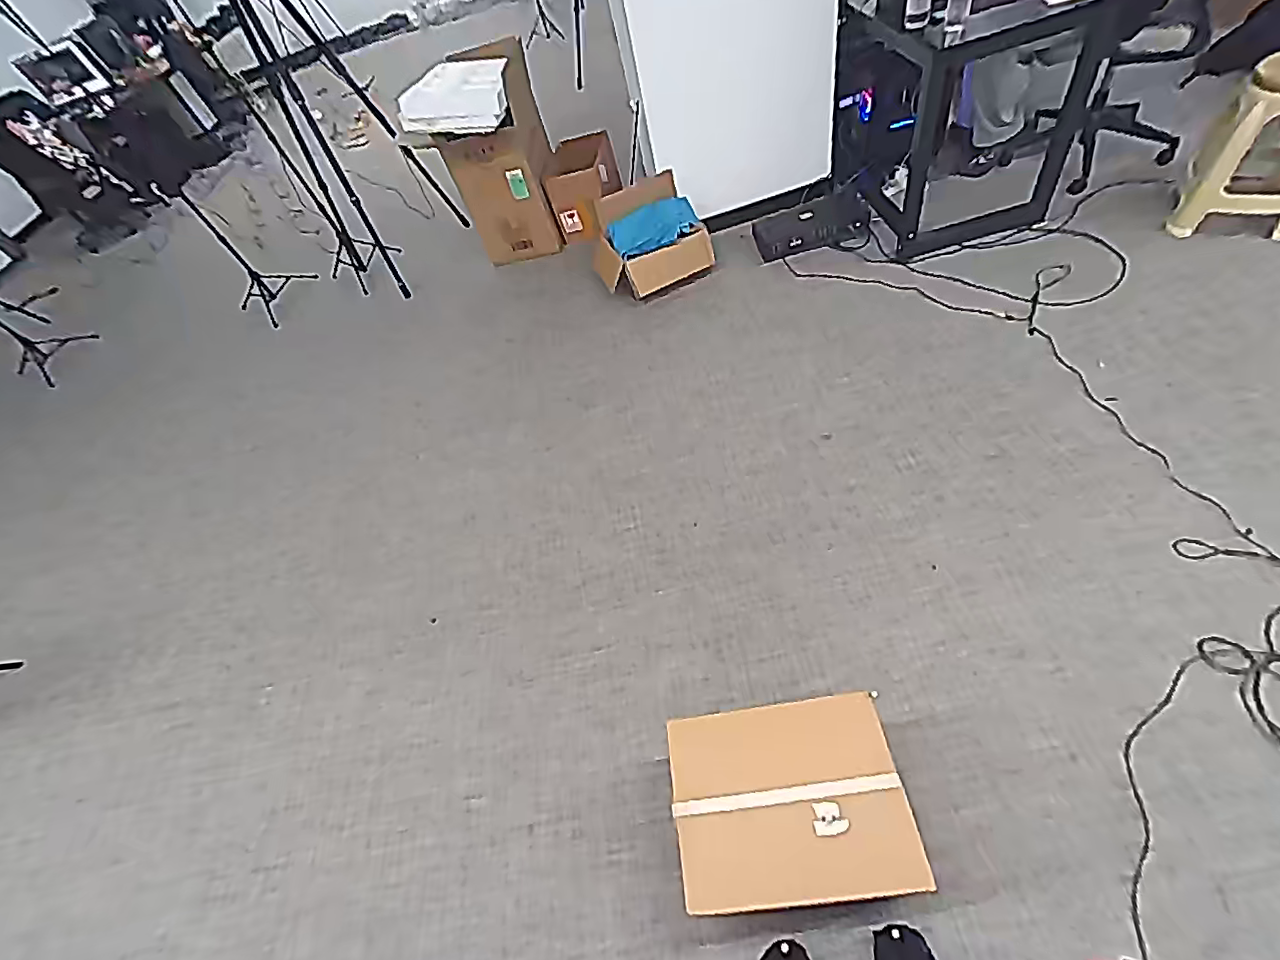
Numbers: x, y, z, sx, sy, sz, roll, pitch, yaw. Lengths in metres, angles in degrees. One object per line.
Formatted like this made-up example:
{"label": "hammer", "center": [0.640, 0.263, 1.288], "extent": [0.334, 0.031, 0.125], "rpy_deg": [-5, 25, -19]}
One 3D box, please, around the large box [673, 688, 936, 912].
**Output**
{"label": "large box", "center": [0.304, 0.655, 1.095], "extent": [0.408, 0.320, 0.320], "rpy_deg": [-12, 52, 7]}
